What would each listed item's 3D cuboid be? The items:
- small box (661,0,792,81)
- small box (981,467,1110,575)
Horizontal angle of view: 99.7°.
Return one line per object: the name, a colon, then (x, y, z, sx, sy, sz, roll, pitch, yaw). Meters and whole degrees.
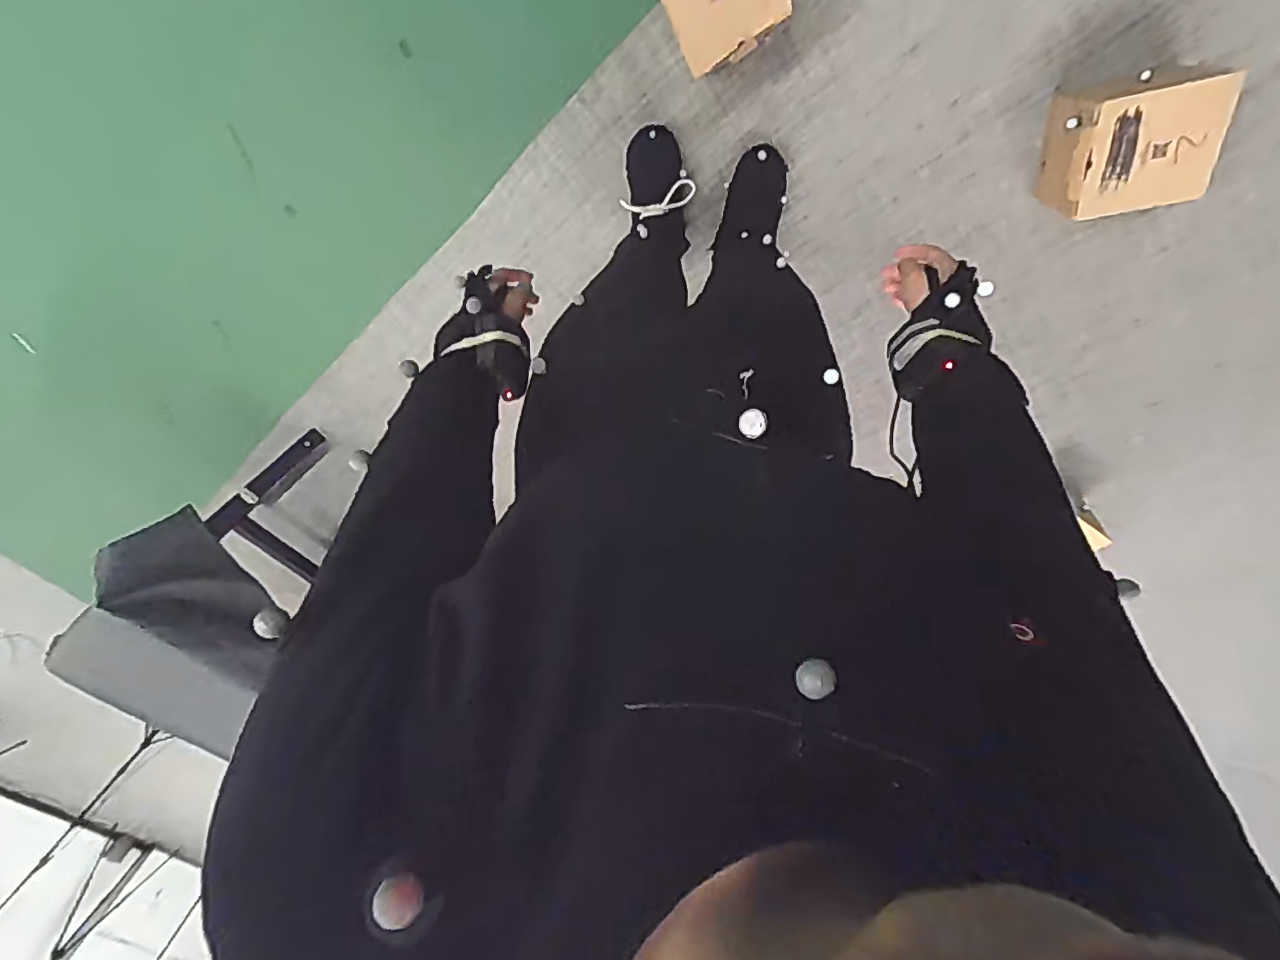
small box: (0.127, -0.772, 0.846, 0.168, 0.176, 0.179, -20, 121, 26)
small box: (1.004, 0.100, 1.357, 0.168, 0.176, 0.179, 30, 130, -12)
